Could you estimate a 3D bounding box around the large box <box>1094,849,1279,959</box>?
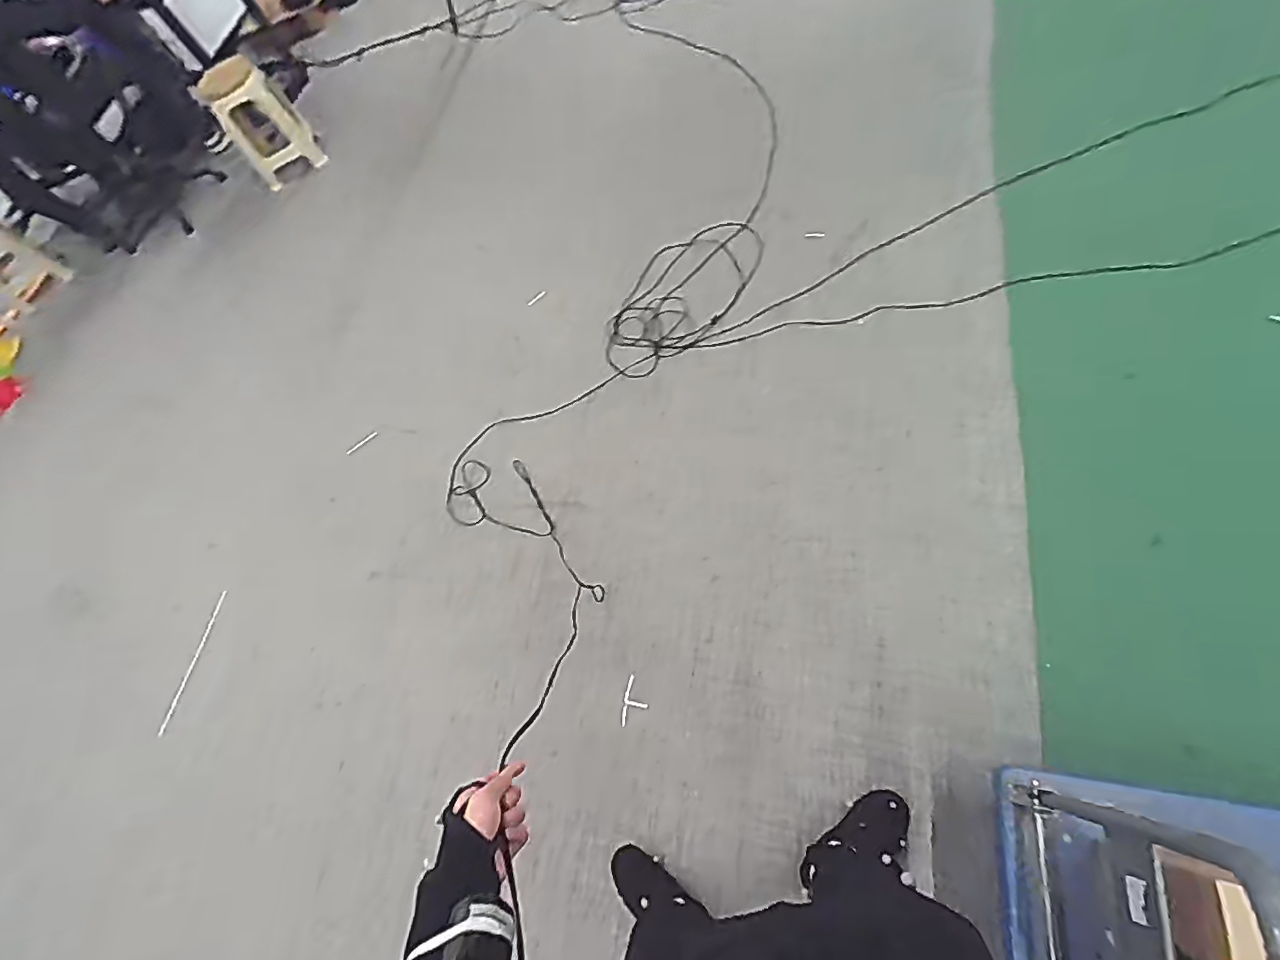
[{"bbox_3d":[0.988,0.783,0.781,0.408,0.320,0.320,7,68,15],"label":"large box"}]
